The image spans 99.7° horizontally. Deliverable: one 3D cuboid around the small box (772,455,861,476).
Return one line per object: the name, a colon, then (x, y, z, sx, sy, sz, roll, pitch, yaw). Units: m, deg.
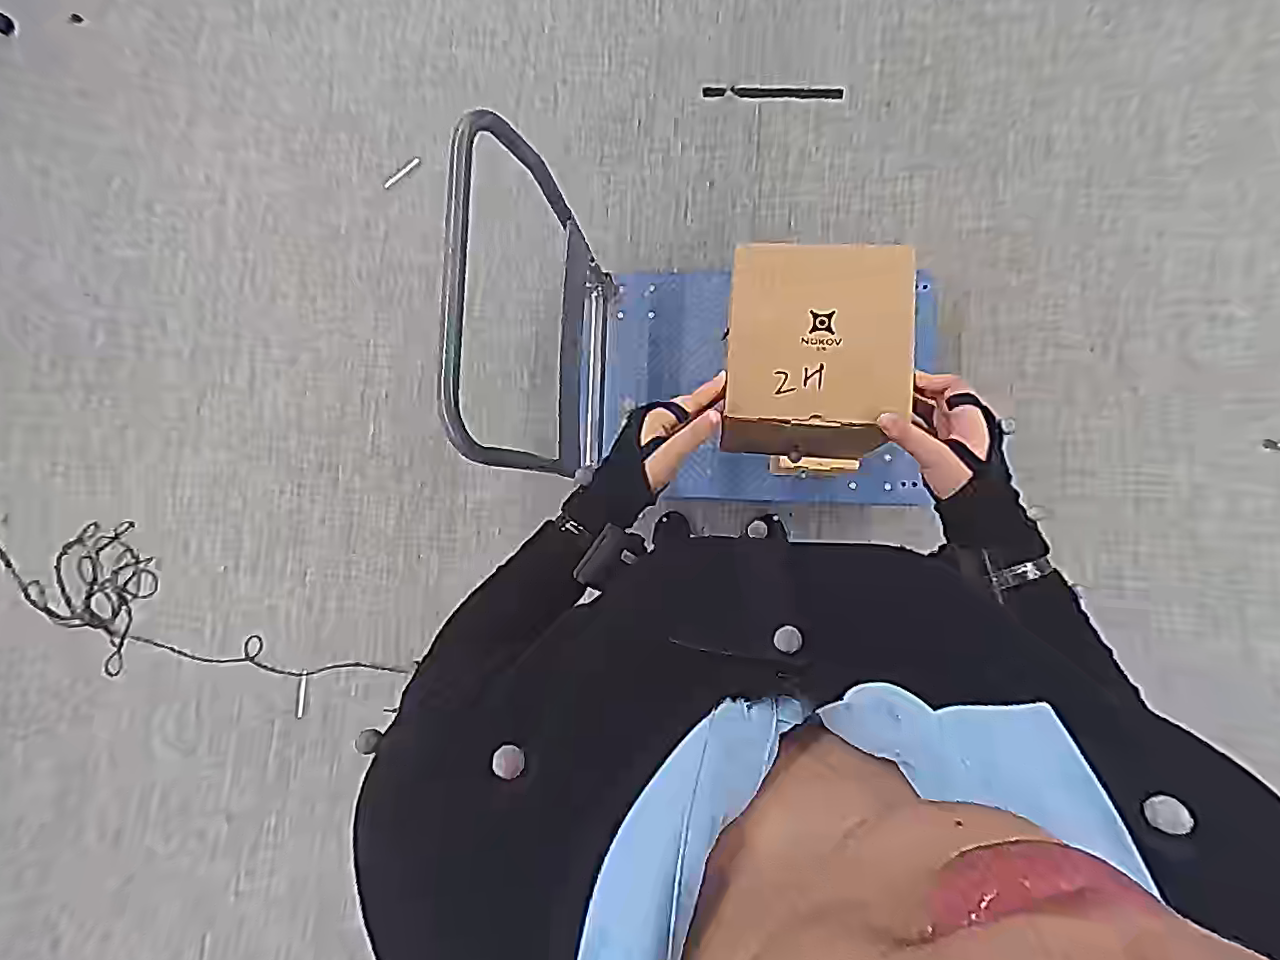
small box: (0.394, -0.106, 1.228, 0.168, 0.176, 0.179, 2, 87, 7)

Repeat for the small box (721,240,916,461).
small box: (0.174, -0.126, 0.570, 0.168, 0.176, 0.179, 3, 82, 8)
